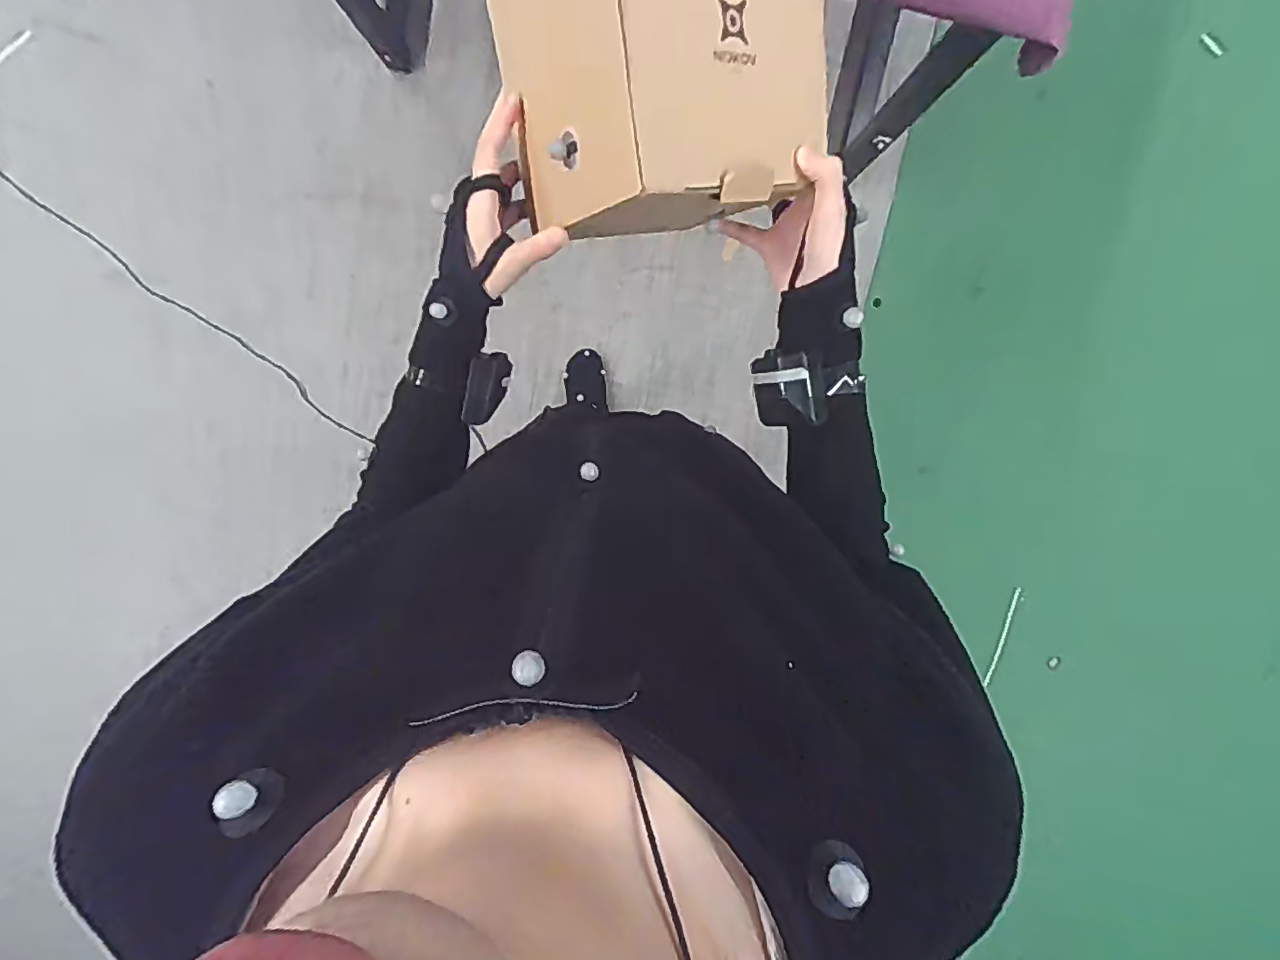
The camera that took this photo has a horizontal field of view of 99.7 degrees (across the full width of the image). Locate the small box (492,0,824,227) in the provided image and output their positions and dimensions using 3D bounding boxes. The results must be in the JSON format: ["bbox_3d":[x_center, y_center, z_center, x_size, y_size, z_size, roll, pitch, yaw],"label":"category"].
[{"bbox_3d":[0.010,-0.290,0.392,0.168,0.176,0.179,-19,111,-29],"label":"small box"}]
